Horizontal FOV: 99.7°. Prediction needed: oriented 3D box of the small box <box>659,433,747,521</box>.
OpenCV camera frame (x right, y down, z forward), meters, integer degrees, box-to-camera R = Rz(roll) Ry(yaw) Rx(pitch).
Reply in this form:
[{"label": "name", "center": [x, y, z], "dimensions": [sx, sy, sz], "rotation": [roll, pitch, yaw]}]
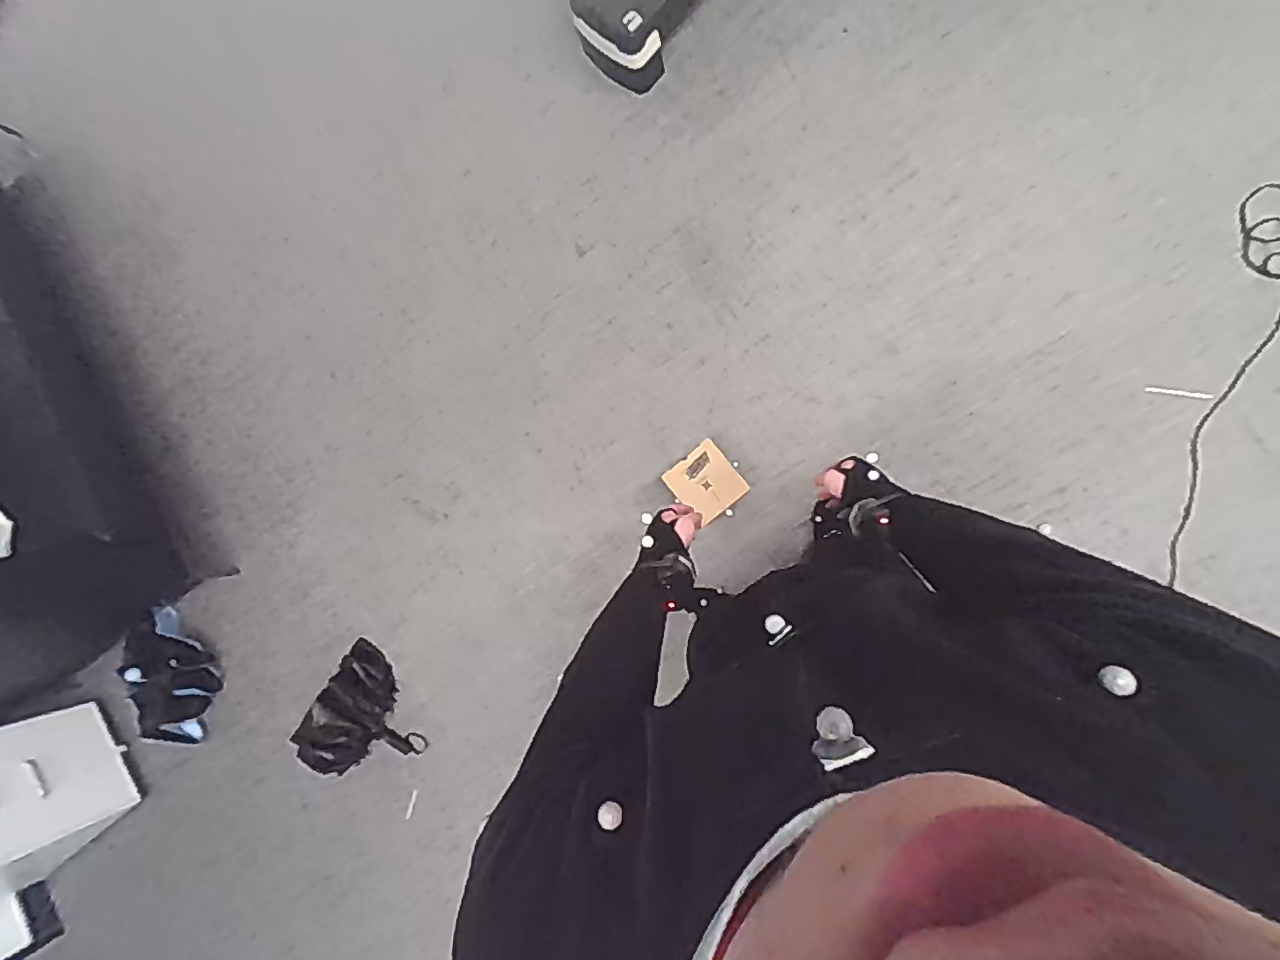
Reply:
[{"label": "small box", "center": [0.178, -0.003, 1.492], "dimensions": [0.168, 0.176, 0.179], "rotation": [-40, 81, 8]}]
